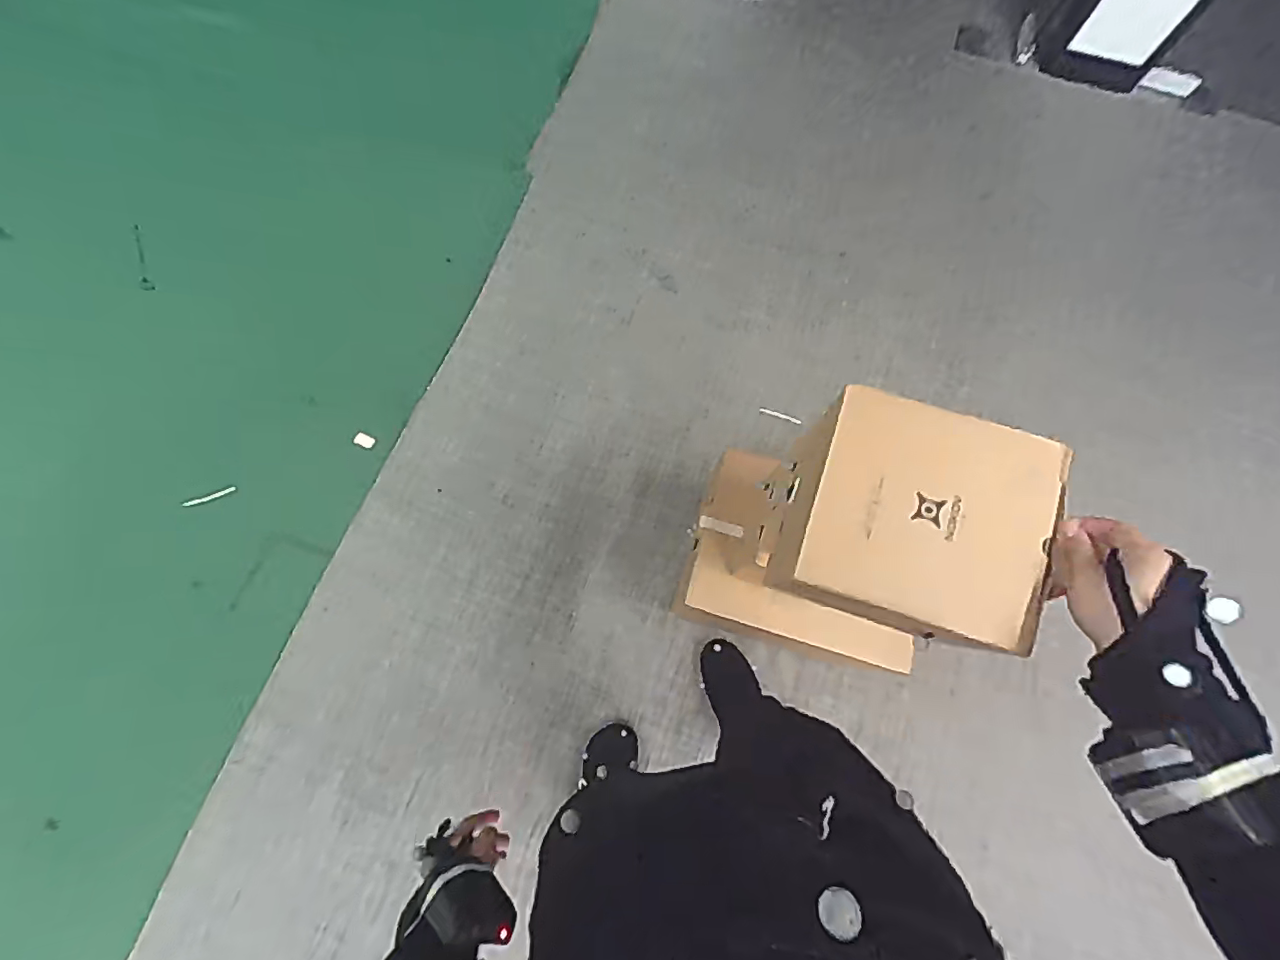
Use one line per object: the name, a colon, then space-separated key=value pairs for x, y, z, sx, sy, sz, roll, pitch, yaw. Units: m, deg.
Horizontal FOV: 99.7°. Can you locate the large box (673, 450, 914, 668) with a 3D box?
large box: x=0.308 y=0.174 z=1.123 sx=0.408 sy=0.320 sz=0.320 roll=17 pitch=75 yaw=3

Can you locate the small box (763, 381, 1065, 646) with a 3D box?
small box: x=0.228 y=0.036 z=0.492 sx=0.179 sy=0.176 sz=0.168 roll=18 pitch=79 yaw=8
